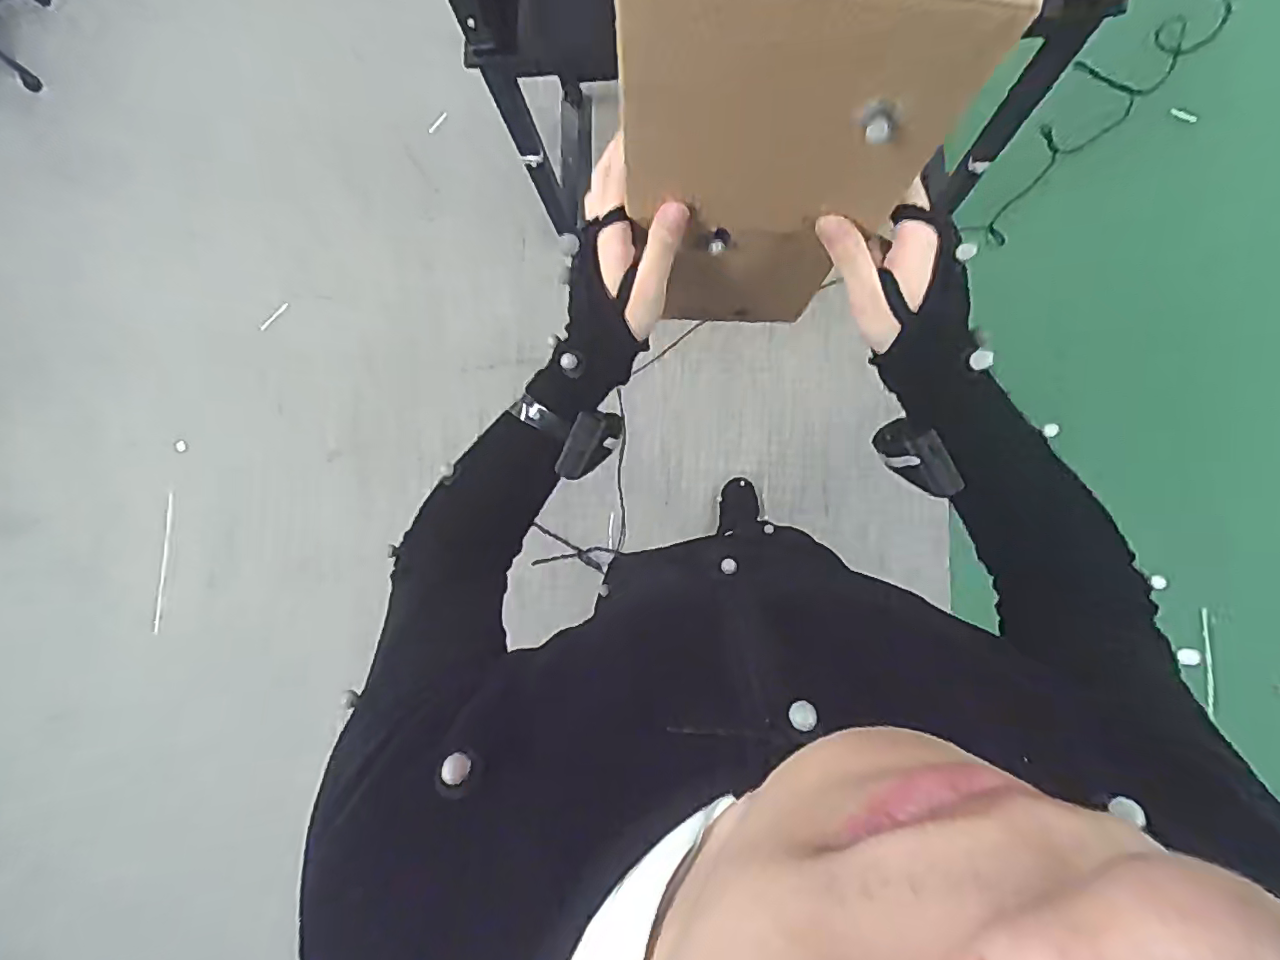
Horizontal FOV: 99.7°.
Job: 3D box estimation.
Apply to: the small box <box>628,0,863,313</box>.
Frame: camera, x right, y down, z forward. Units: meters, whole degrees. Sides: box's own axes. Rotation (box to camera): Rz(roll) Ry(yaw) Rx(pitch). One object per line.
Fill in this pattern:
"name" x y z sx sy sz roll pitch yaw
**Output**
"small box" 0.077 -0.266 0.466 0.168 0.176 0.179 2 81 2
